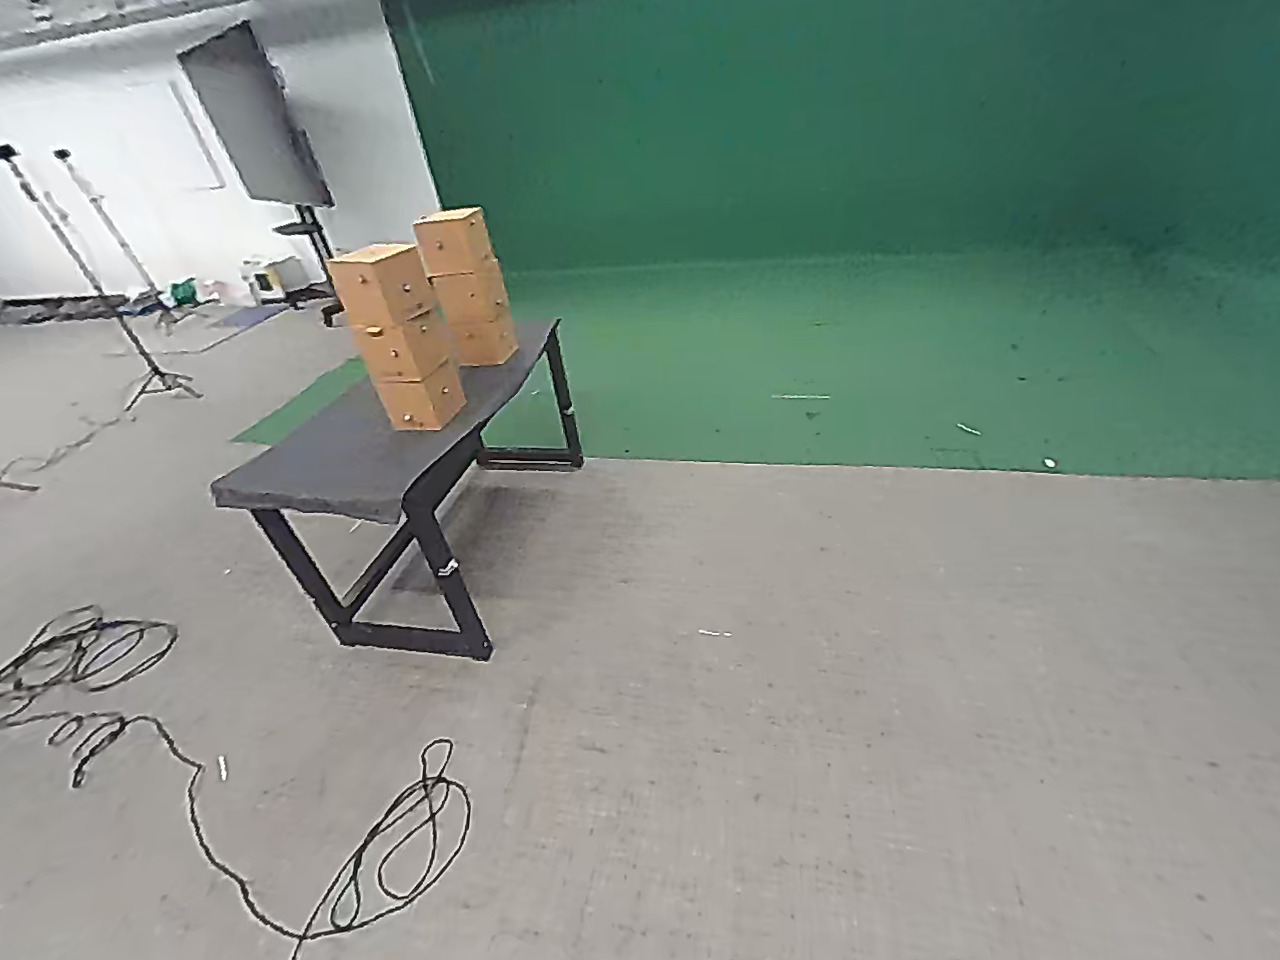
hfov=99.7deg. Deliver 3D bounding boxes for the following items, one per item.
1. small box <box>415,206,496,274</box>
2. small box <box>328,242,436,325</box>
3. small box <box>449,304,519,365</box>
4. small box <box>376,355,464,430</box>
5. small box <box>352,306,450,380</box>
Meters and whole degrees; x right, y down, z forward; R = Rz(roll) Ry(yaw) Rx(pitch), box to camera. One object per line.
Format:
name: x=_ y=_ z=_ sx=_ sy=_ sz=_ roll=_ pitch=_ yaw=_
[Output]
small box: x=-0.608 y=-0.798 z=1.805 sx=0.179 sy=0.176 sz=0.168 roll=-1 pitch=38 yaw=11
small box: x=-0.688 y=-0.531 z=1.462 sx=0.179 sy=0.176 sz=0.168 roll=12 pitch=40 yaw=24
small box: x=-0.569 y=-0.538 z=2.002 sx=0.179 sy=0.176 sz=0.168 roll=1 pitch=37 yaw=14
small box: x=-0.661 y=-0.270 z=1.658 sx=0.168 sy=0.176 sz=0.179 roll=2 pitch=38 yaw=14
small box: x=-0.677 y=-0.397 z=1.559 sx=0.168 sy=0.176 sz=0.179 roll=4 pitch=37 yaw=14
